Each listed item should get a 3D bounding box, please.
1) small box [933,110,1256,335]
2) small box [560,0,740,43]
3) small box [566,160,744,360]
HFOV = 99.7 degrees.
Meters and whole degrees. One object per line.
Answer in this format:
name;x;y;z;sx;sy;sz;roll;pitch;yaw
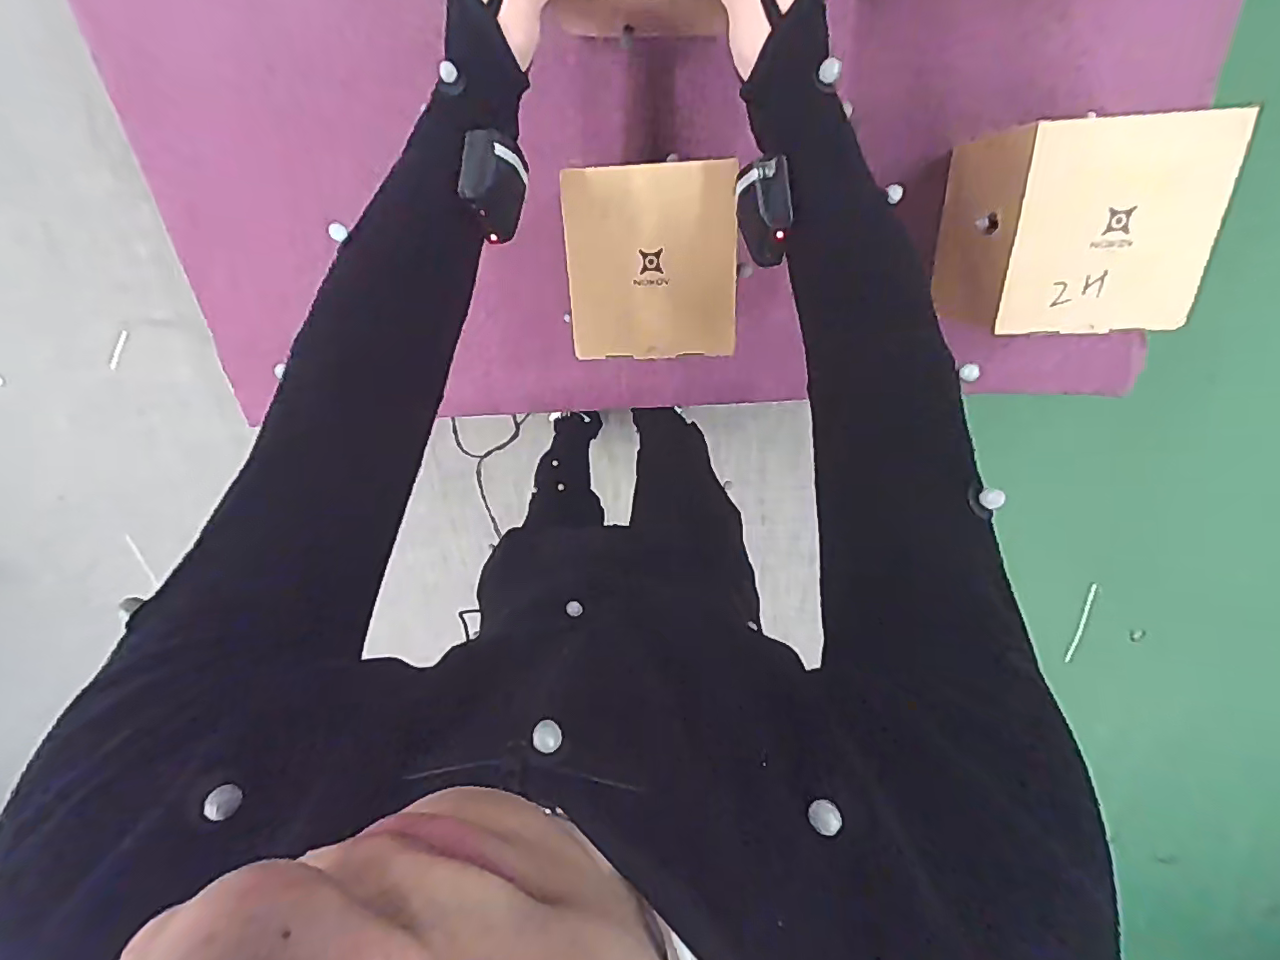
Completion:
small box;0.422;-0.248;0.545;0.168;0.176;0.179;1;114;7
small box;0.006;-0.503;0.460;0.168;0.176;0.179;2;119;3
small box;0.020;-0.238;0.593;0.168;0.176;0.179;-1;116;5
